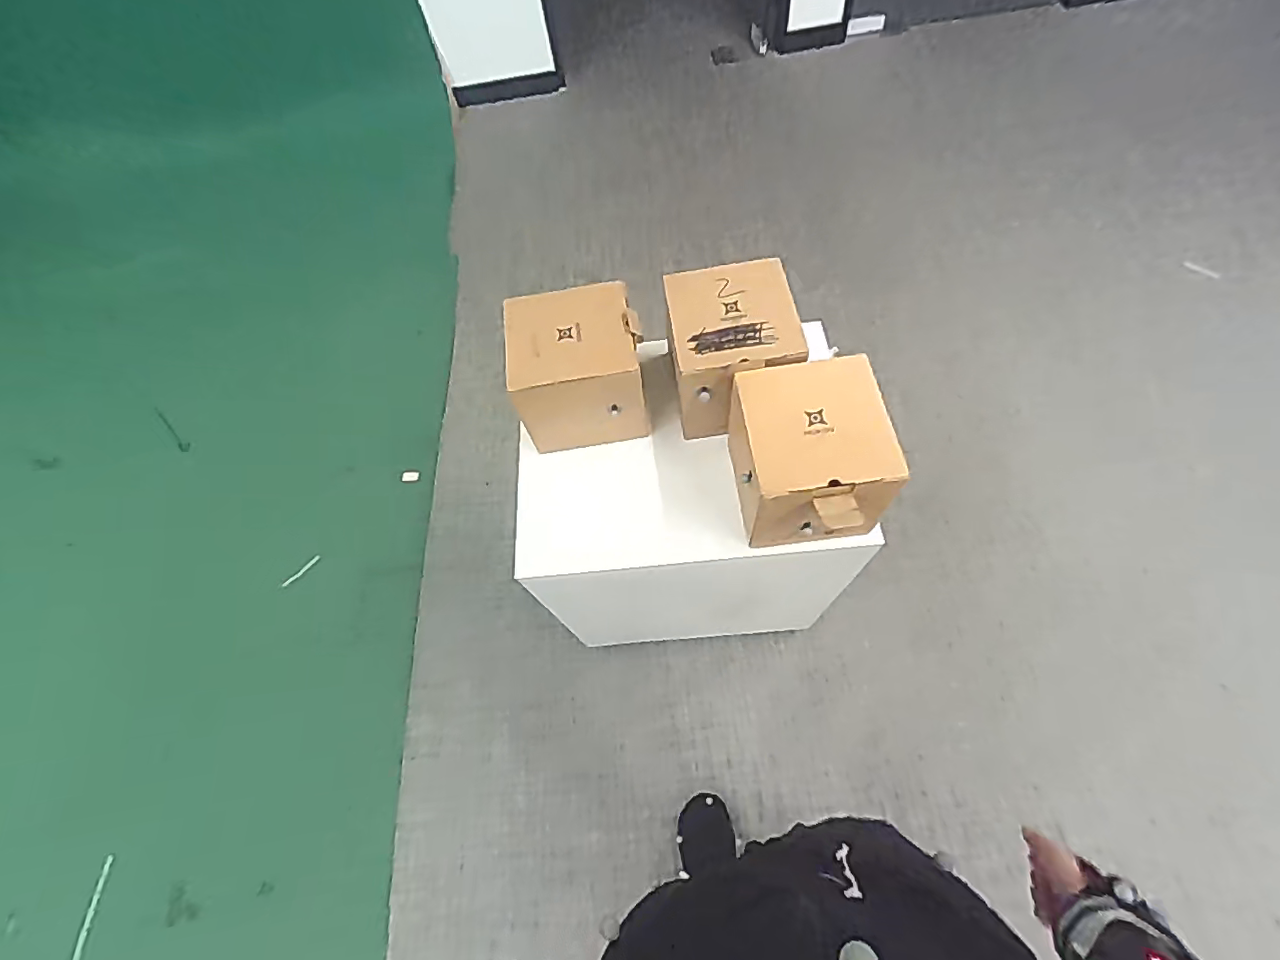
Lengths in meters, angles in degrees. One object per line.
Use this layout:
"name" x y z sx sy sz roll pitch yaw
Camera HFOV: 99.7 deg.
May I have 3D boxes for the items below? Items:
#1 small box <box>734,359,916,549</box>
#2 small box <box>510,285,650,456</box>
"small box" 0.219 -0.027 0.699 0.168 0.176 0.179 -7 62 2
"small box" -0.082 -0.154 0.798 0.179 0.176 0.168 -10 61 1
